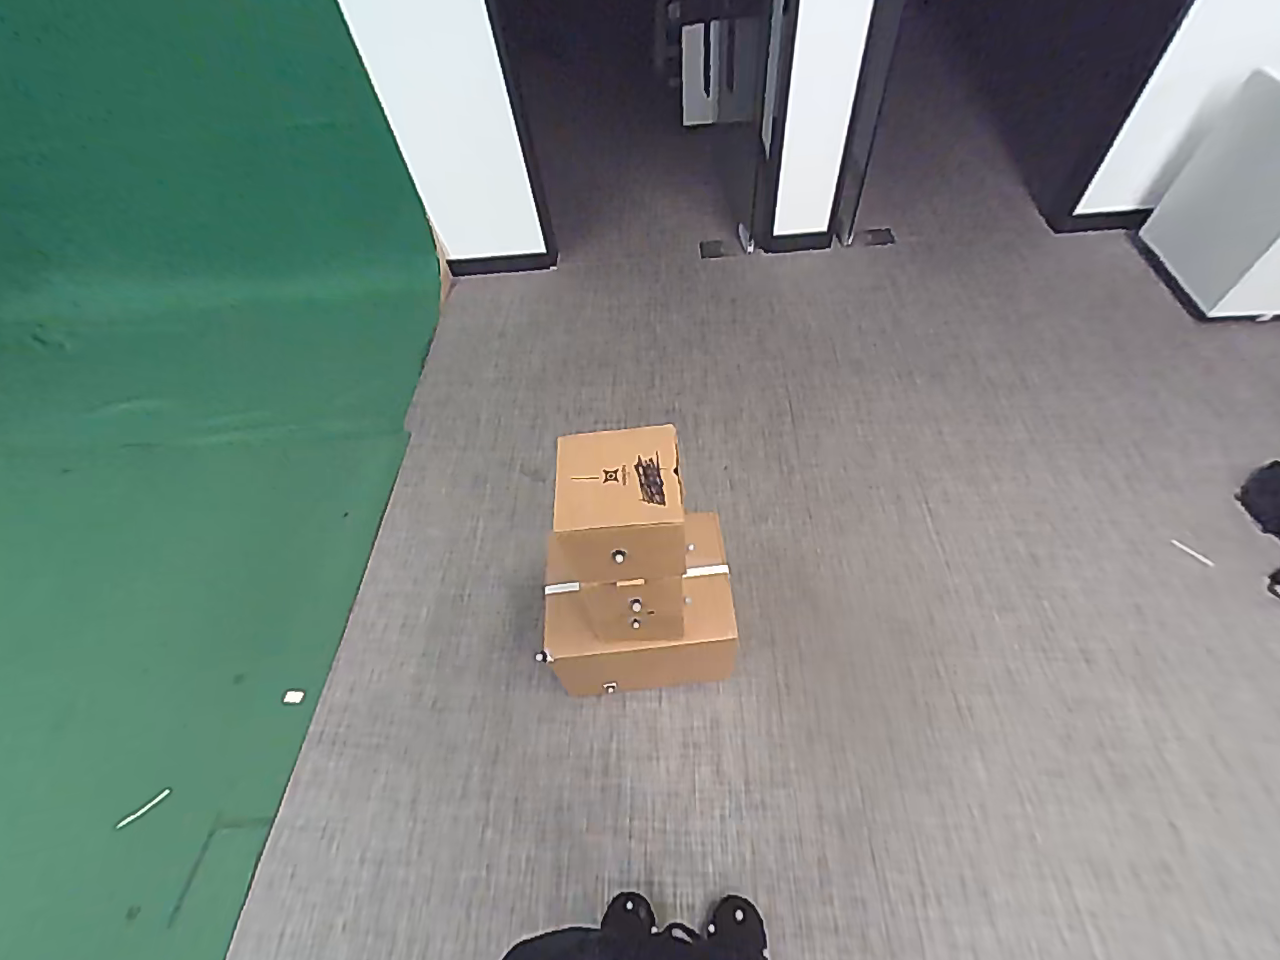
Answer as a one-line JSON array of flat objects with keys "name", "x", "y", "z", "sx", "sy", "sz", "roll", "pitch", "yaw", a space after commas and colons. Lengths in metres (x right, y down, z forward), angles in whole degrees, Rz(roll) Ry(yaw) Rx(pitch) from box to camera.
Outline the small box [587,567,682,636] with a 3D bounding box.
[{"name": "small box", "x": -0.006, "y": 0.212, "z": 1.096, "sx": 0.179, "sy": 0.176, "sz": 0.168, "roll": -3, "pitch": 57, "yaw": 2}]

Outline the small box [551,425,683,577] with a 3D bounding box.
[{"name": "small box", "x": -0.026, "y": 0.037, "z": 0.818, "sx": 0.179, "sy": 0.176, "sz": 0.168, "roll": -5, "pitch": 56, "yaw": 4}]

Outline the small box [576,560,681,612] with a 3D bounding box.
[{"name": "small box", "x": -0.017, "y": 0.126, "z": 0.957, "sx": 0.168, "sy": 0.176, "sz": 0.179, "roll": -6, "pitch": 57, "yaw": 2}]
